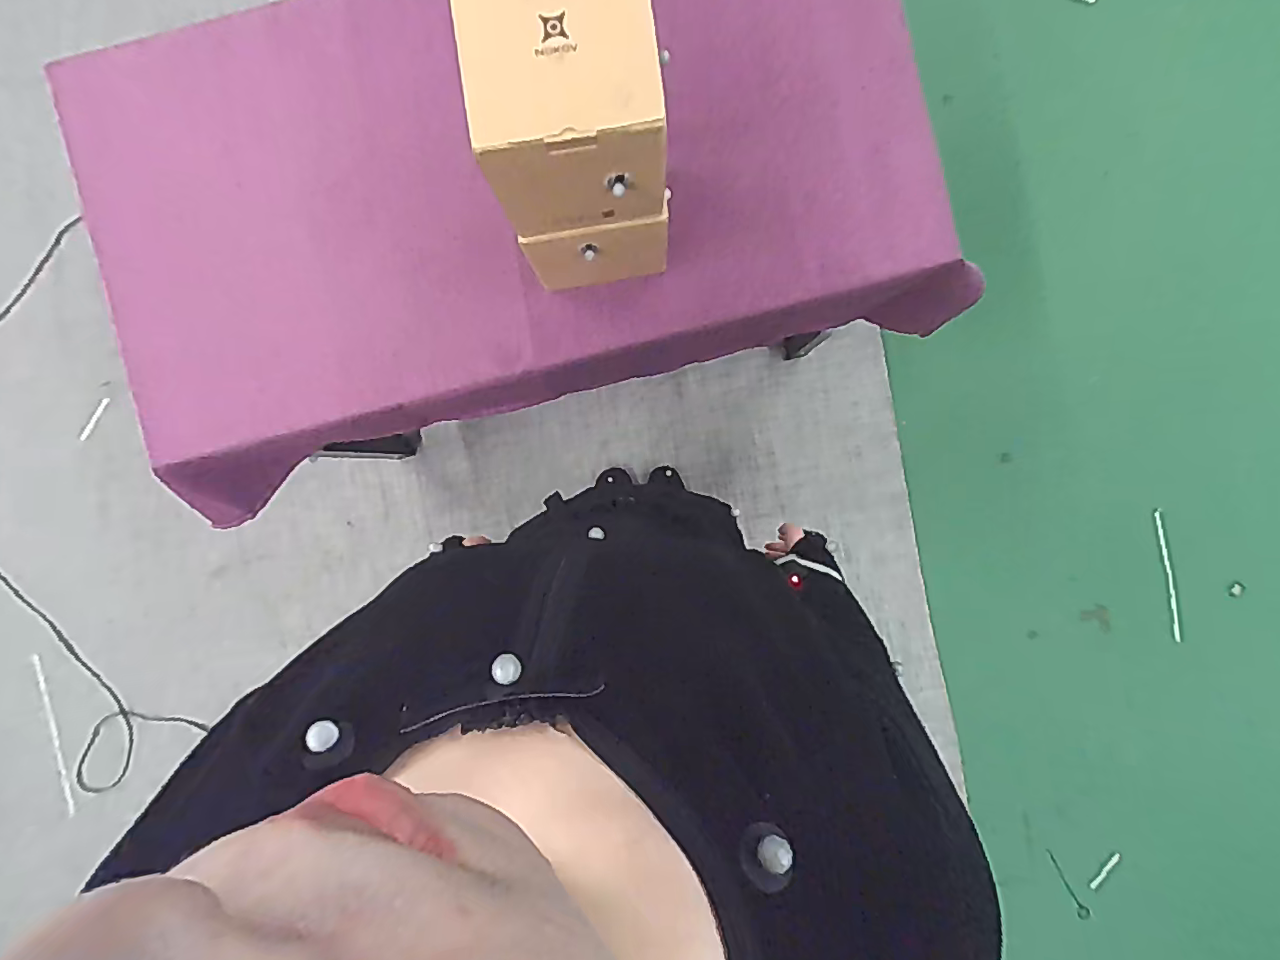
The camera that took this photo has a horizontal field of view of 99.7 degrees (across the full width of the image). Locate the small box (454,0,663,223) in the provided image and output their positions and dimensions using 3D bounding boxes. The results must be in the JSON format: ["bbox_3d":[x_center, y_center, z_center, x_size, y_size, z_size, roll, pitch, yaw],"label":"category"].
[{"bbox_3d":[-0.067,-0.373,0.528,0.168,0.176,0.179,-7,91,2],"label":"small box"}]

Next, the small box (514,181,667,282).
[{"bbox_3d":[-0.061,-0.369,0.691,0.179,0.176,0.168,-8,92,2],"label":"small box"}]
